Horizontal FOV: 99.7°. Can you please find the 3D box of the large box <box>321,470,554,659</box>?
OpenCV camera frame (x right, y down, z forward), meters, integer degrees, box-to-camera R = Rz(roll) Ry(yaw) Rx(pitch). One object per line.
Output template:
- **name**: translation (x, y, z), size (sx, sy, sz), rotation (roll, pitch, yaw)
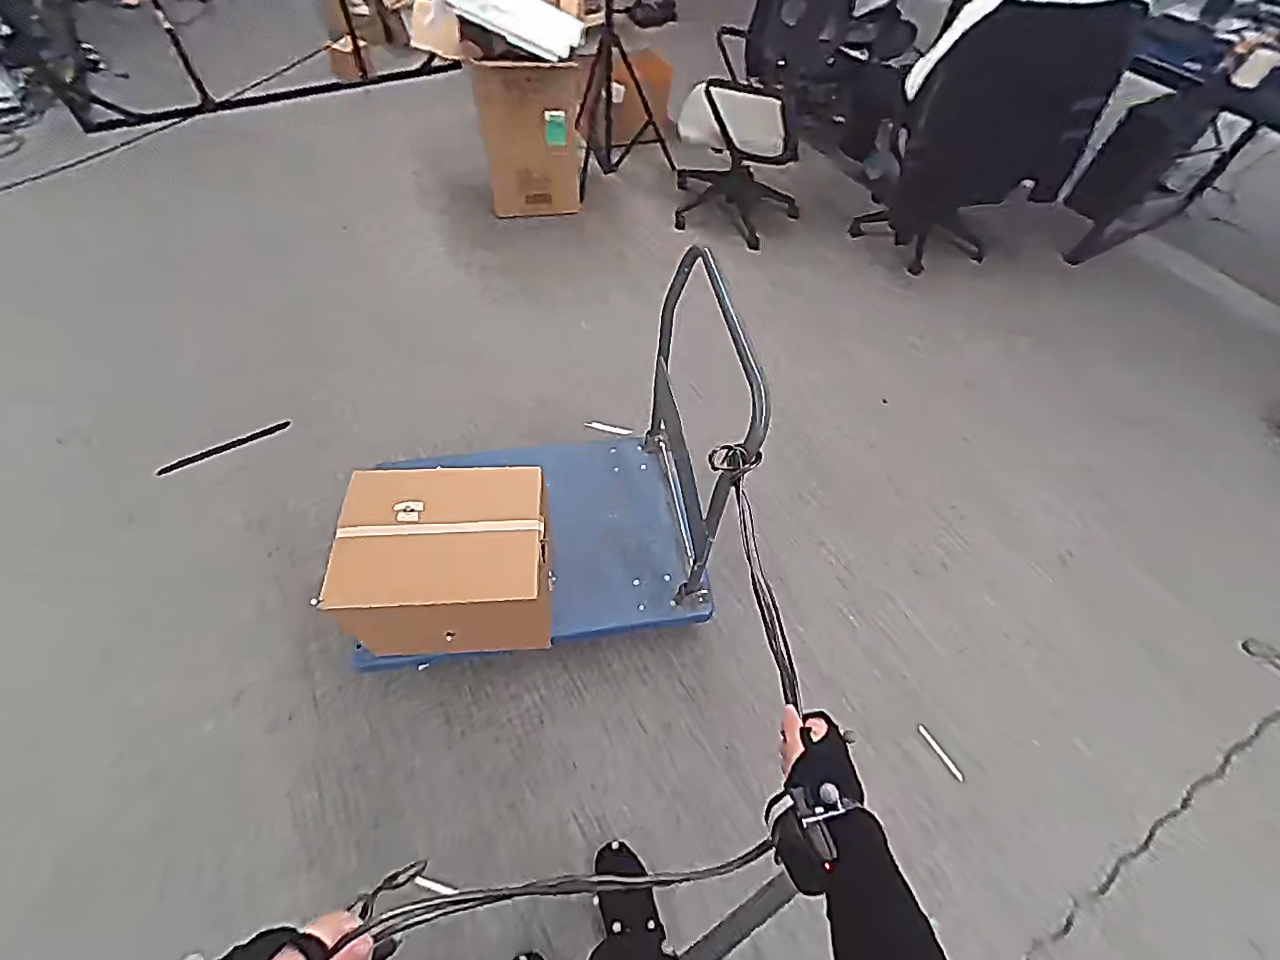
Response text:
- **large box**: translation (-0.406, 0.197, 1.211), size (0.408, 0.320, 0.320), rotation (-2, 55, -4)
